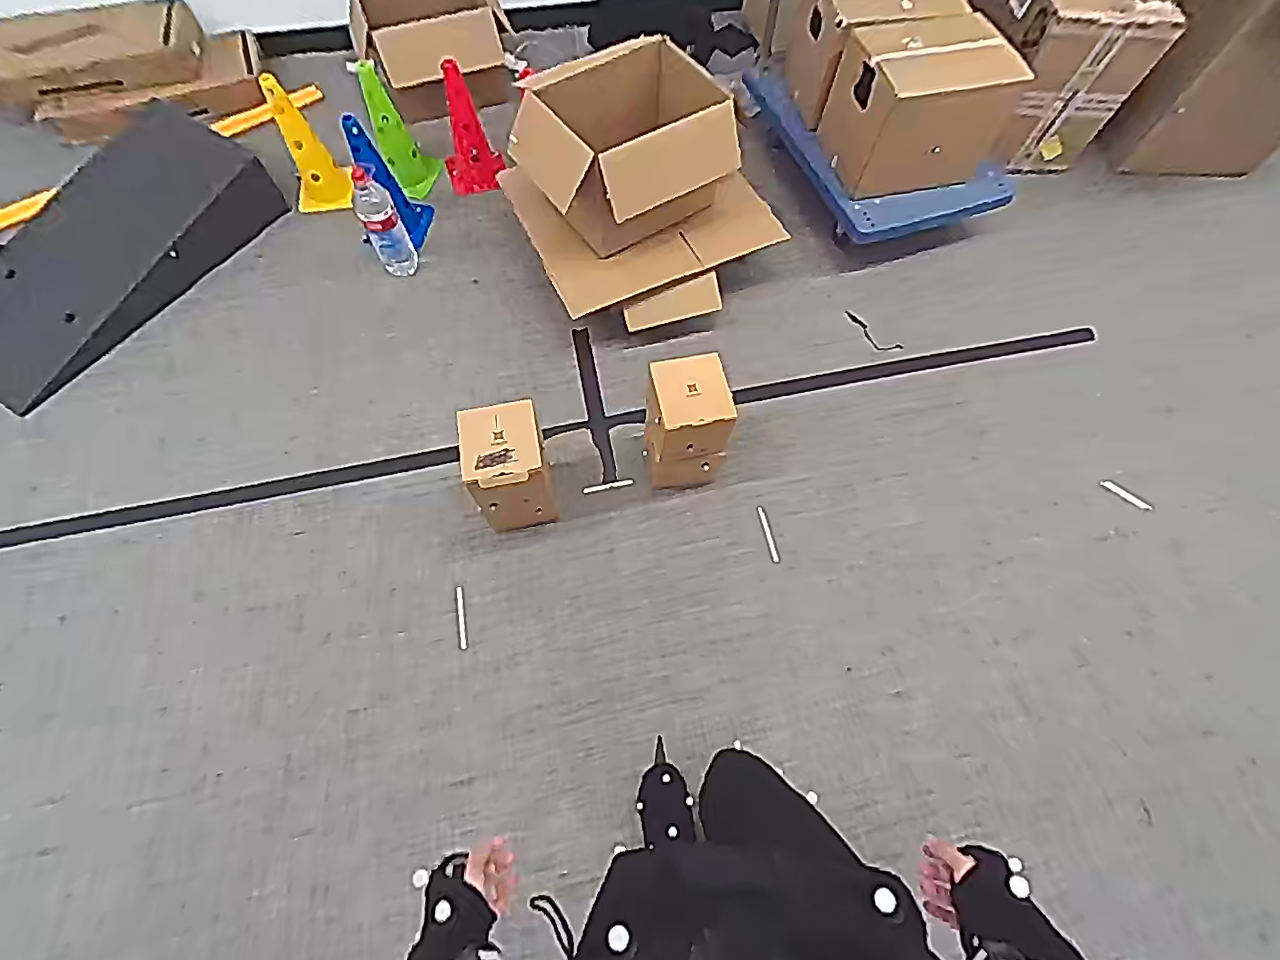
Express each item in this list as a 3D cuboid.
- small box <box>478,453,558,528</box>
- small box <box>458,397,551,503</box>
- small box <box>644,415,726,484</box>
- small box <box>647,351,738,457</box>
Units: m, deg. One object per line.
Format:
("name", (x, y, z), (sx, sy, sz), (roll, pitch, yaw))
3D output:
("small box", (-0.309, 0.006, 1.360), (0.179, 0.176, 0.168), (-13, 67, -6))
("small box", (-0.298, -0.059, 1.209), (0.168, 0.176, 0.179), (-10, 66, -6))
("small box", (0.111, -0.100, 1.418), (0.179, 0.176, 0.168), (-6, 67, -5))
("small box", (0.114, -0.175, 1.273), (0.168, 0.176, 0.179), (-10, 69, -7))
